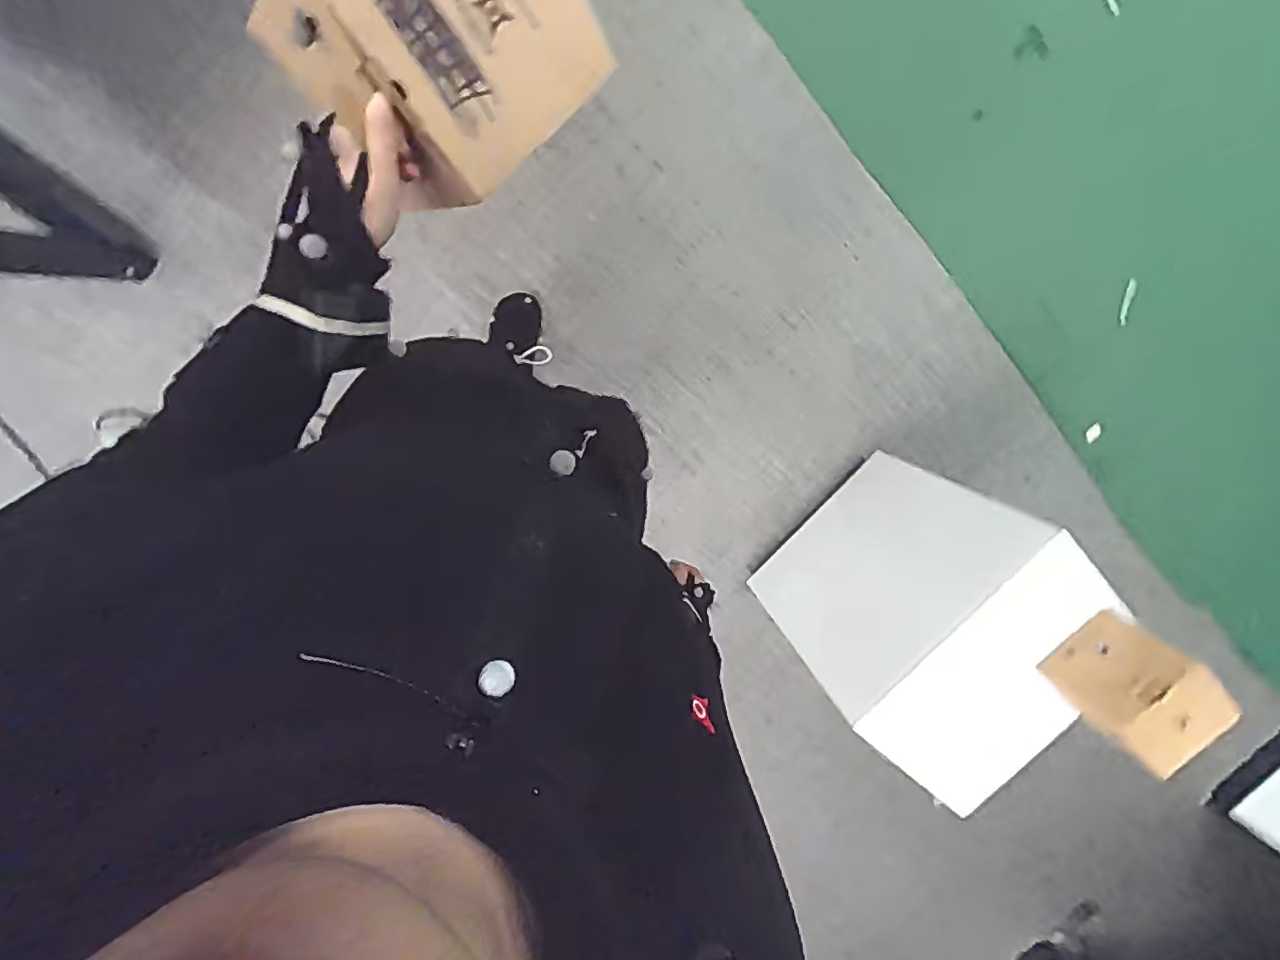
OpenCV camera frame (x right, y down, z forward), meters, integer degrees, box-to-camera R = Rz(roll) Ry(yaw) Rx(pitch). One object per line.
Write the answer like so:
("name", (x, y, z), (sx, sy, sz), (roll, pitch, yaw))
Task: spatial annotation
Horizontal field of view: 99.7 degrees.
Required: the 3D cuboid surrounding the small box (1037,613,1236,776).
("small box", (0.871, 0.372, 0.963), (0.179, 0.176, 0.168), (42, 97, -18))
